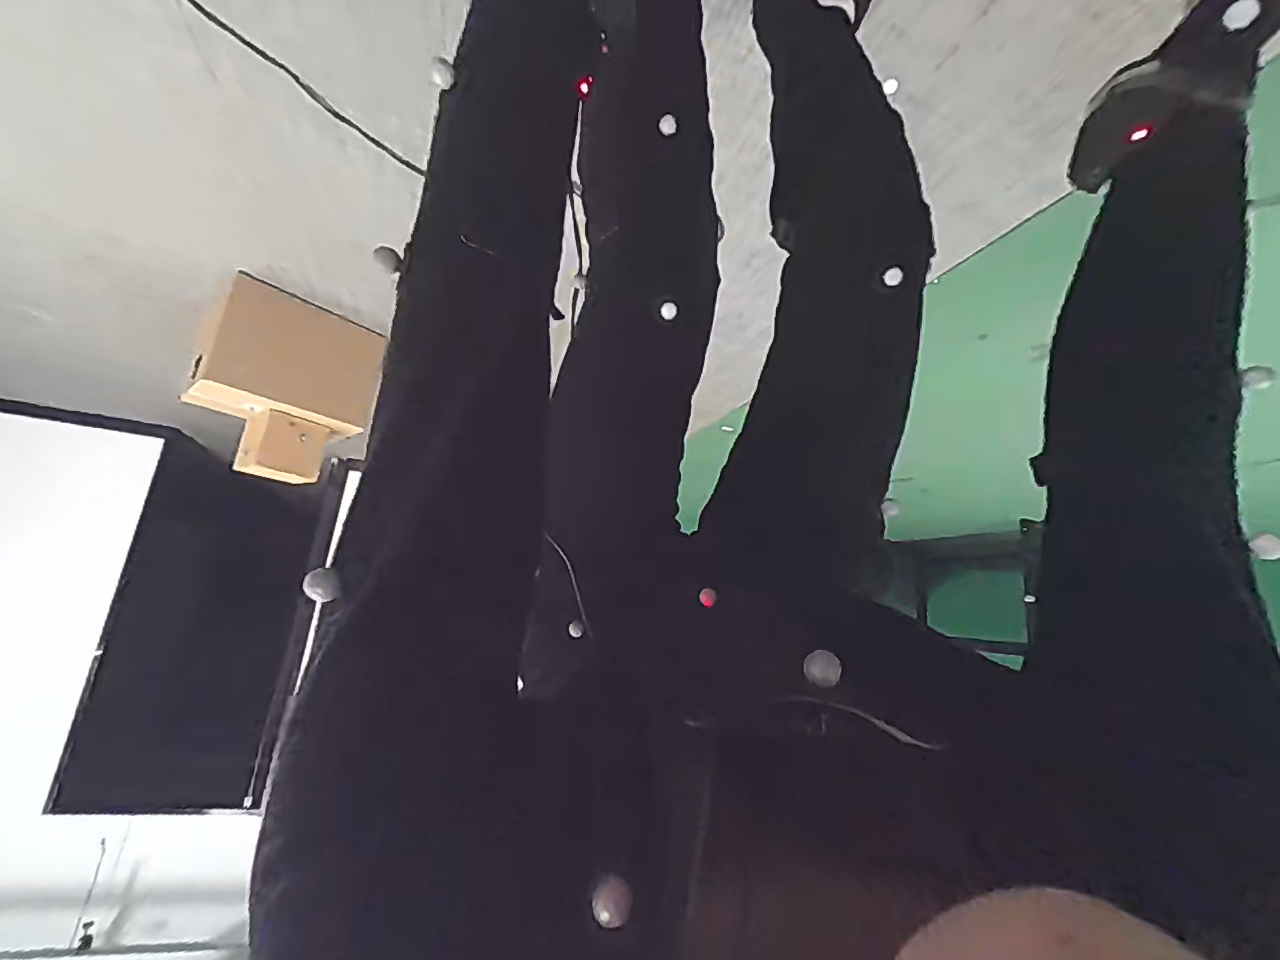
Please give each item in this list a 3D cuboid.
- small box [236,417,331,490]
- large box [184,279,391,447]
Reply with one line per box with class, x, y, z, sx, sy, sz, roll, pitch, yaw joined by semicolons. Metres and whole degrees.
small box;-1.038;-0.074;1.584;0.179;0.176;0.168;-4;162;38
large box;-1.032;-0.321;1.608;0.320;0.320;0.408;-7;159;41
